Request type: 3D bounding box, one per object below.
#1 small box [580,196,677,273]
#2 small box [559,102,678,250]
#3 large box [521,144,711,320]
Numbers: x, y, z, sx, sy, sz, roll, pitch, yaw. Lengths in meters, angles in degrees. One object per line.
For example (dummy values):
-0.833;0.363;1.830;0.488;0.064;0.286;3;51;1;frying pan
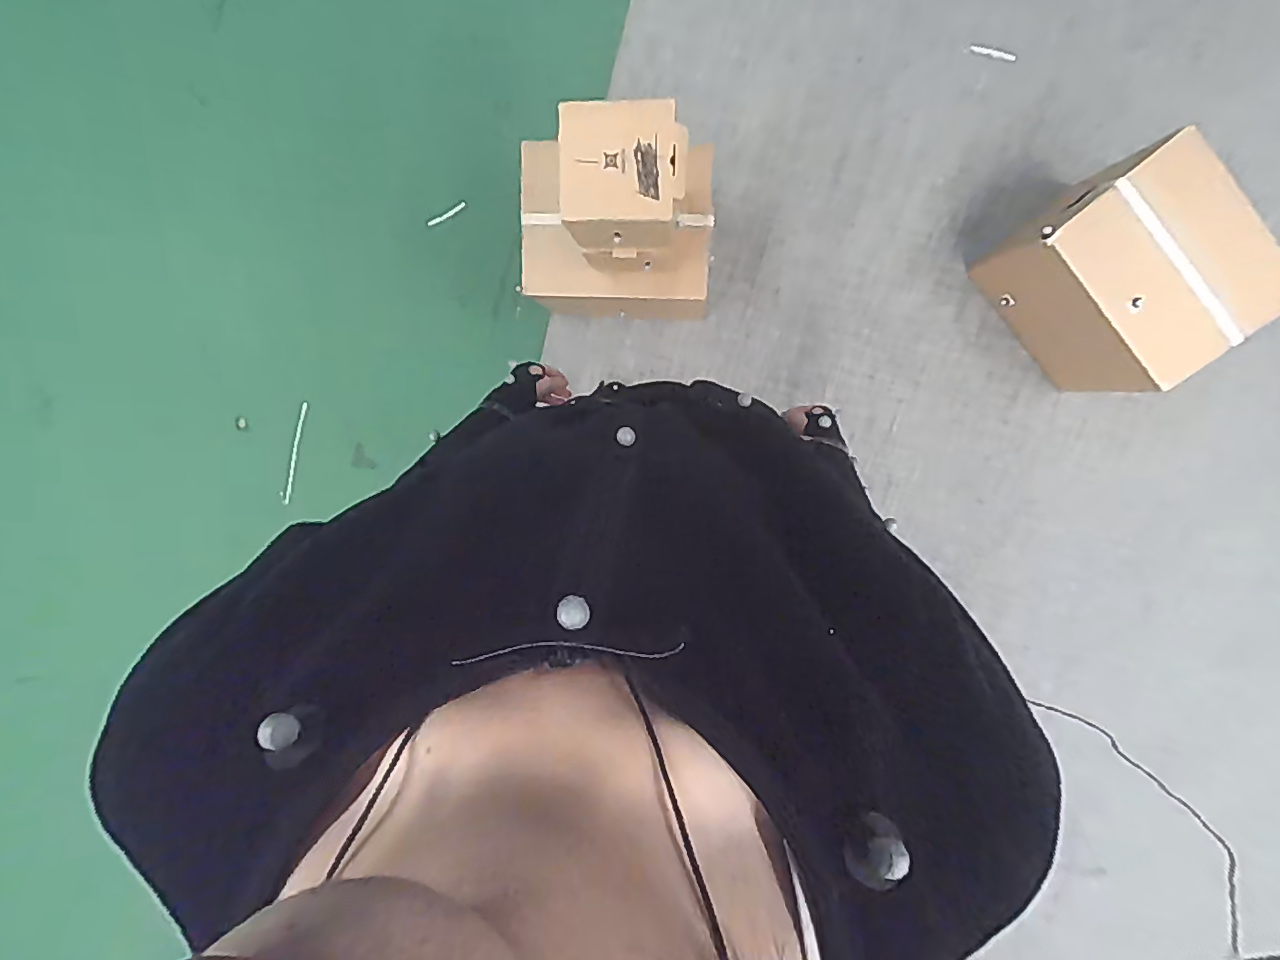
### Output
-0.017;-0.502;1.035;0.168;0.176;0.179;3;99;4;small box
-0.028;-0.479;0.873;0.179;0.176;0.168;2;99;5;small box
-0.037;-0.554;1.277;0.408;0.320;0.320;3;98;6;large box
